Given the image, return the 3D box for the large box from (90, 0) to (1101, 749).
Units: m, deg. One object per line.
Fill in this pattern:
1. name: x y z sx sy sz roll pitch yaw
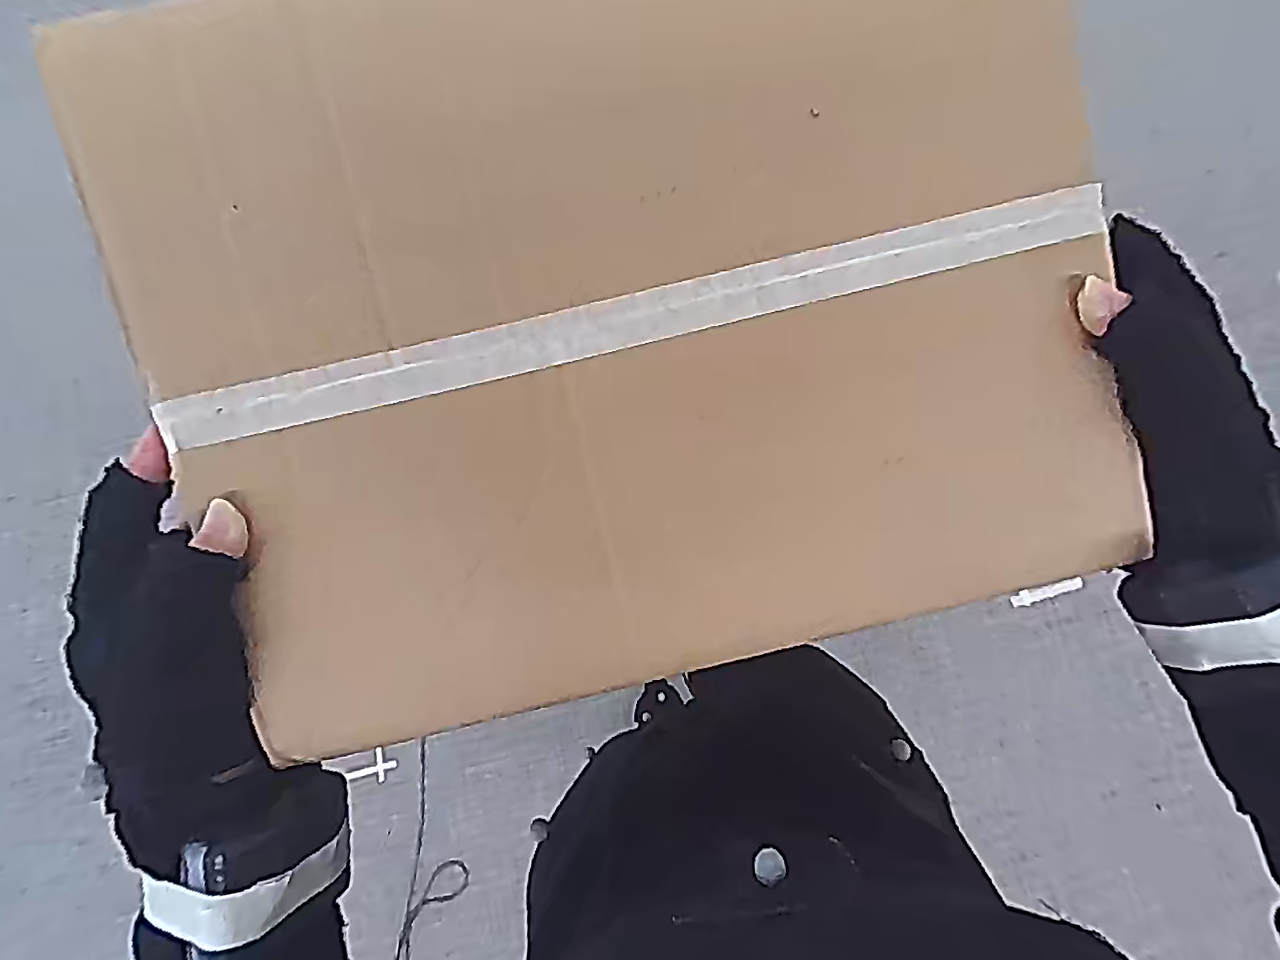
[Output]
1. large box: -0.007 -0.081 0.389 0.408 0.320 0.320 -13 95 -1
